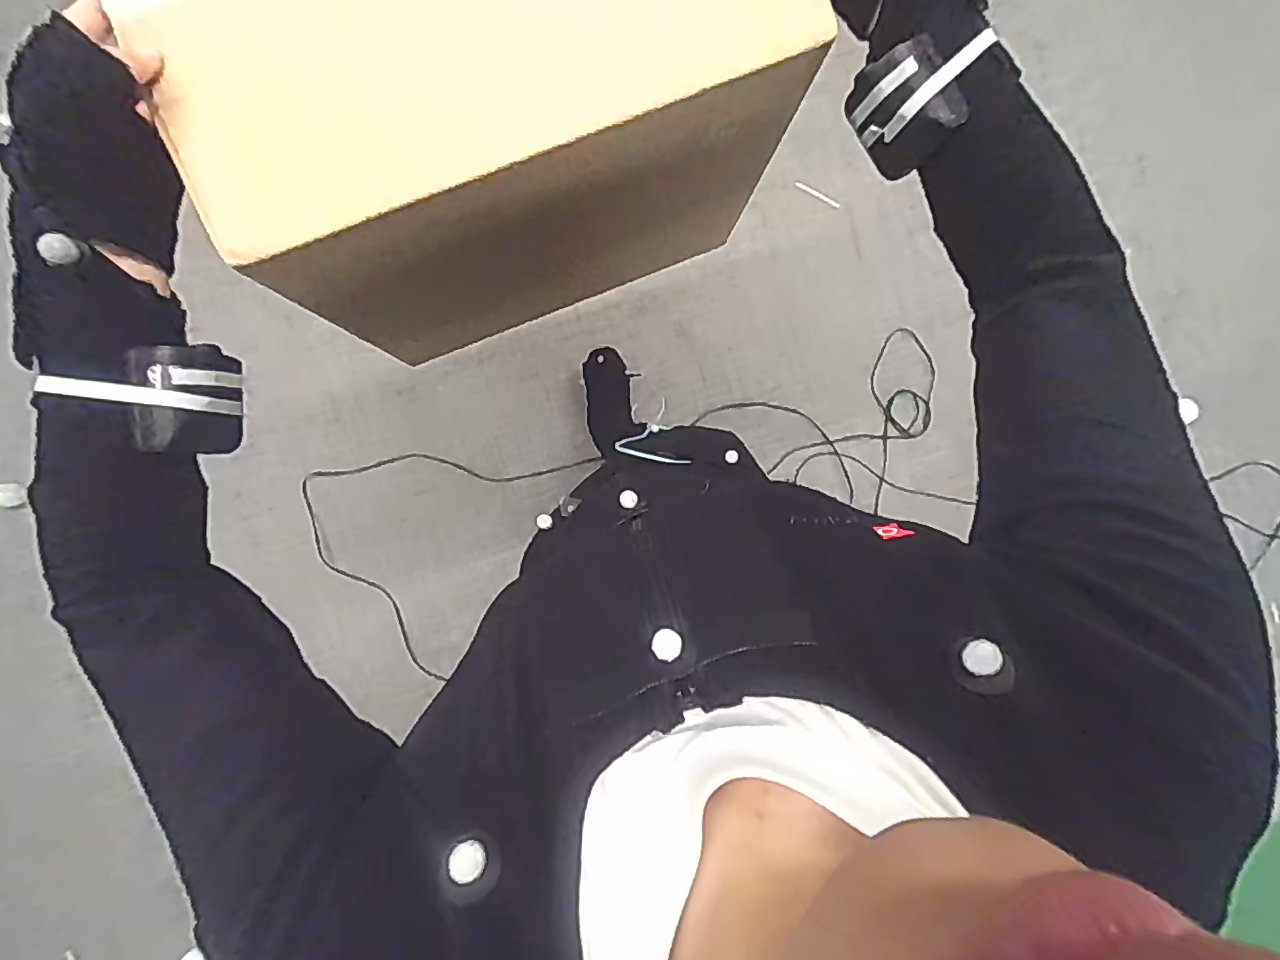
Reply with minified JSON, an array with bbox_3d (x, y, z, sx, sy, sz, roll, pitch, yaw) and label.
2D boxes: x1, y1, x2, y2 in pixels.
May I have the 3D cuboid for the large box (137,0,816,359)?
[{"bbox_3d":[-0.133,-0.354,0.489,0.408,0.320,0.320,-23,92,-5],"label":"large box"}]
